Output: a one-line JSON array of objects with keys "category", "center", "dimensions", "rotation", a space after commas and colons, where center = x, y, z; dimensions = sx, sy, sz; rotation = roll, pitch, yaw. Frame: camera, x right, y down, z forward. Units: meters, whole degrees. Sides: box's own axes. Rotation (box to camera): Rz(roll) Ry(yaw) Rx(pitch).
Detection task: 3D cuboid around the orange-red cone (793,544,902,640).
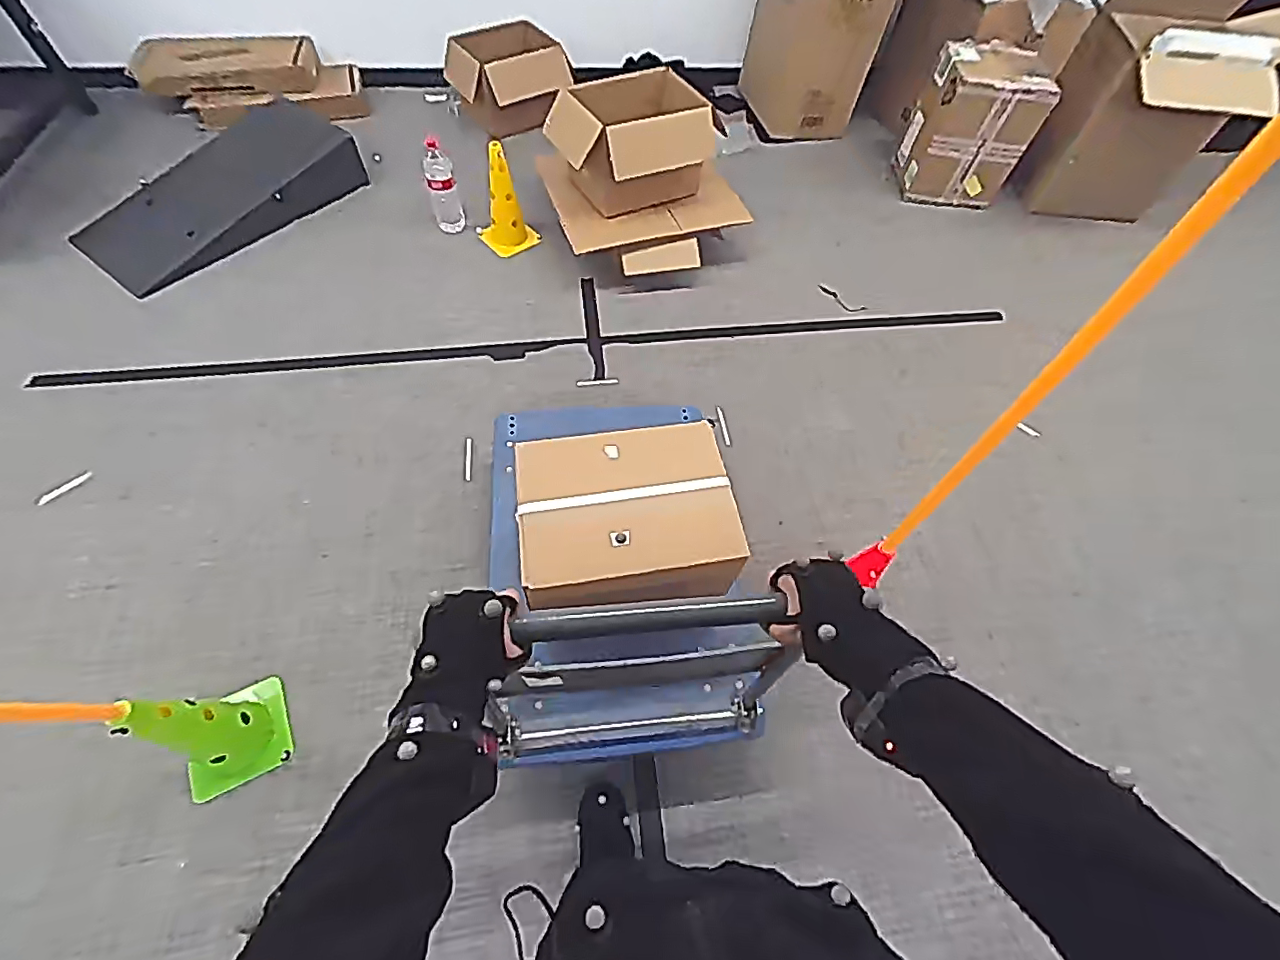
[{"category": "orange-red cone", "center": [0.525, 0.239, 1.289], "dimensions": [0.199, 0.360, 0.198], "rotation": [1, 59, -4]}]
